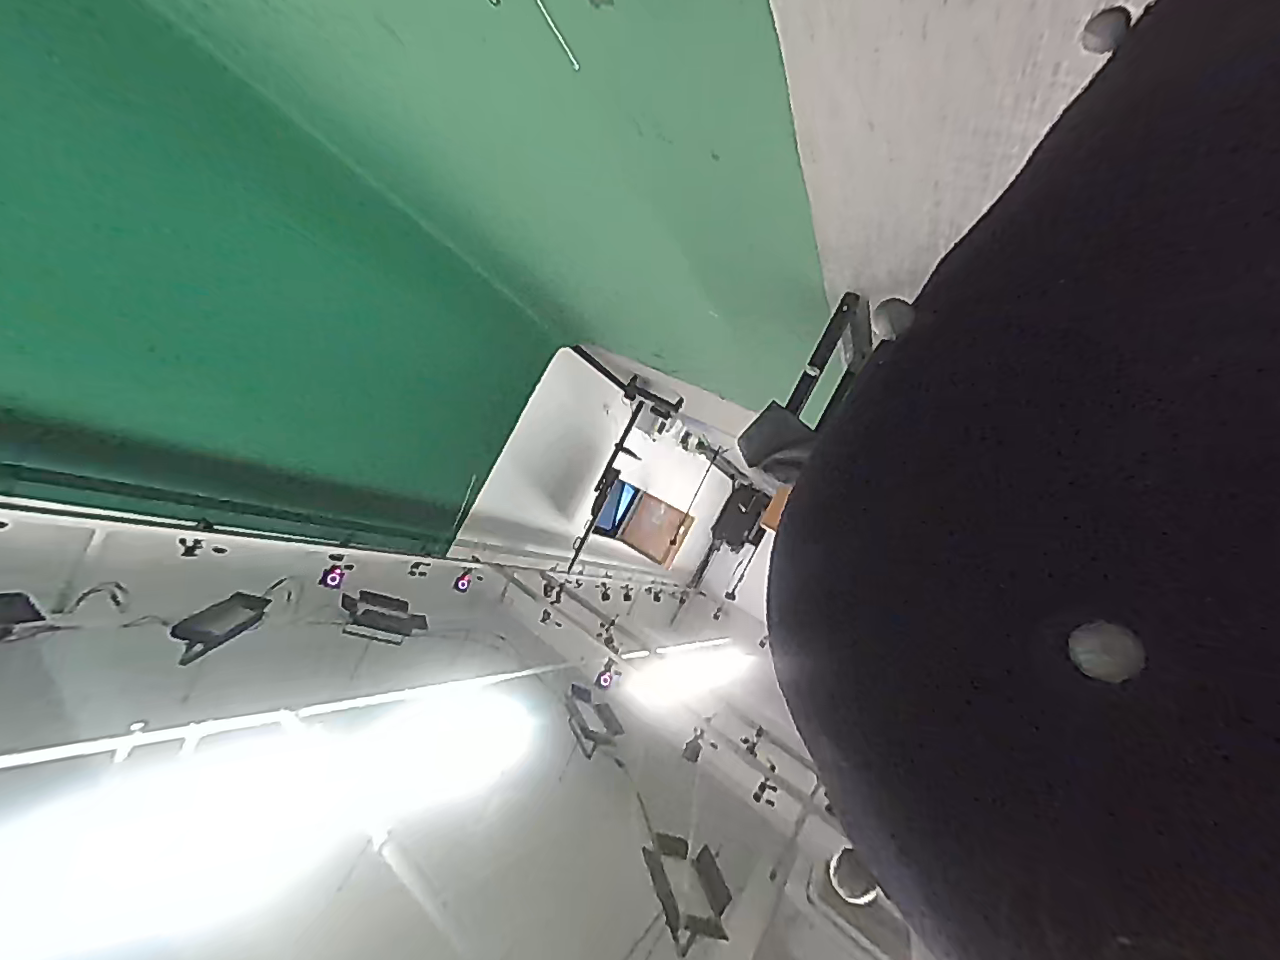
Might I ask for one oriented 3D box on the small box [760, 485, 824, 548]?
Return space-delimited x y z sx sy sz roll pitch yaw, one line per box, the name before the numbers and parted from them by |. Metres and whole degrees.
small box | 0.569 0.135 2.006 0.168 0.176 0.179 28 180 23
